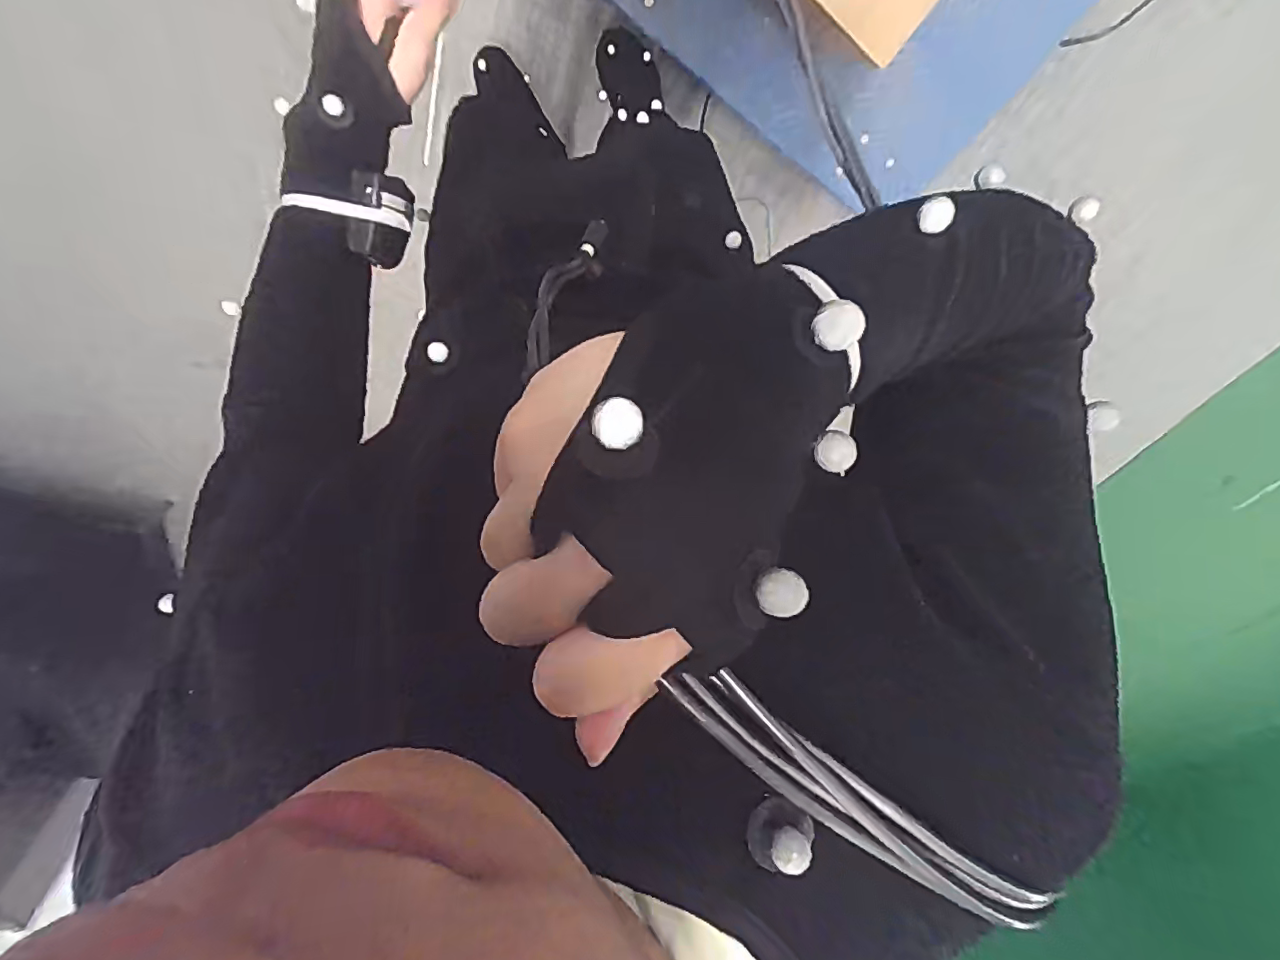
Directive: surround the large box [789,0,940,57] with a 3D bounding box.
[{"bbox_3d":[0.289,-0.895,0.752,0.408,0.320,0.320,25,127,-23],"label":"large box"}]
